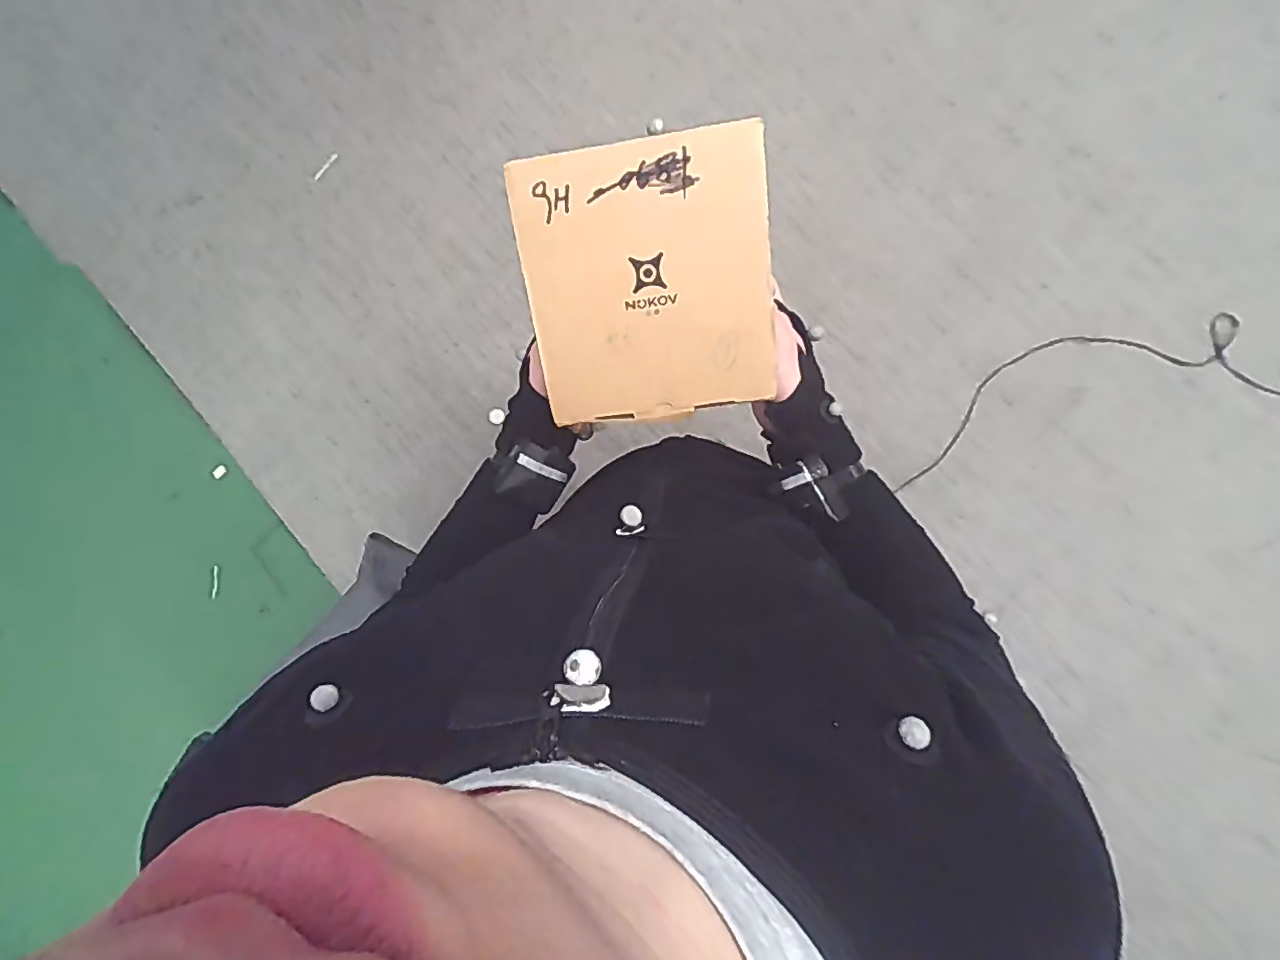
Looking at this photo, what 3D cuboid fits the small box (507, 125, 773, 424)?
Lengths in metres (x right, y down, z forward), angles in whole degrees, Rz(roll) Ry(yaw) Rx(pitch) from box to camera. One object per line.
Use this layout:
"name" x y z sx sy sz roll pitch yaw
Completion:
"small box" 0.010 -0.158 0.439 0.168 0.176 0.179 -7 110 5
